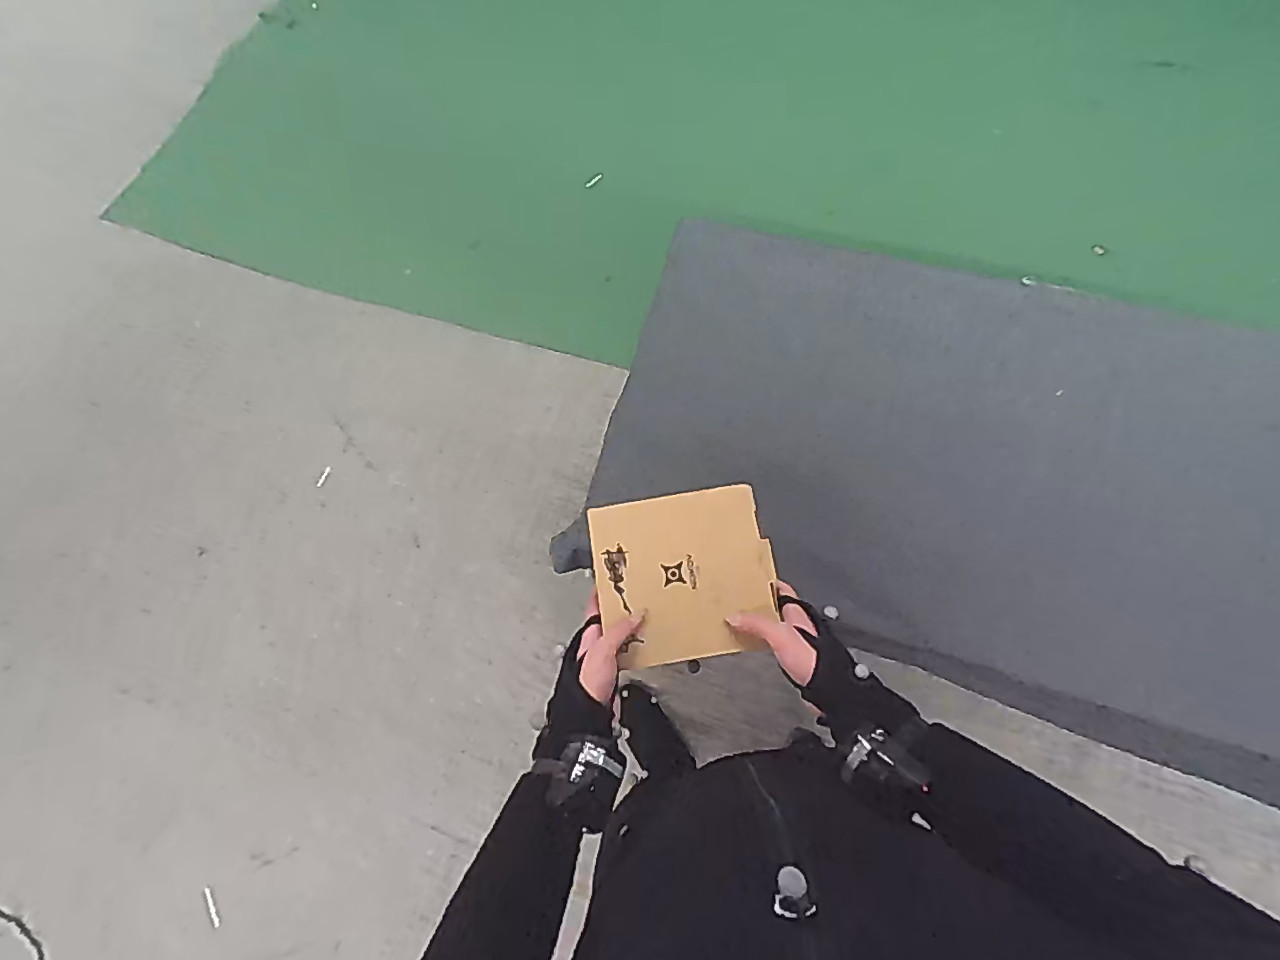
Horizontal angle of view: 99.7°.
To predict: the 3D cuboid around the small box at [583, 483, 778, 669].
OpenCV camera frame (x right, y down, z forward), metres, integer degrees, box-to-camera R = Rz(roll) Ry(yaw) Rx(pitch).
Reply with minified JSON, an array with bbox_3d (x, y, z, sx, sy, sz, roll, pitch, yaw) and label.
[{"bbox_3d":[0.038,0.114,0.611,0.179,0.176,0.168,-8,71,0],"label":"small box"}]
